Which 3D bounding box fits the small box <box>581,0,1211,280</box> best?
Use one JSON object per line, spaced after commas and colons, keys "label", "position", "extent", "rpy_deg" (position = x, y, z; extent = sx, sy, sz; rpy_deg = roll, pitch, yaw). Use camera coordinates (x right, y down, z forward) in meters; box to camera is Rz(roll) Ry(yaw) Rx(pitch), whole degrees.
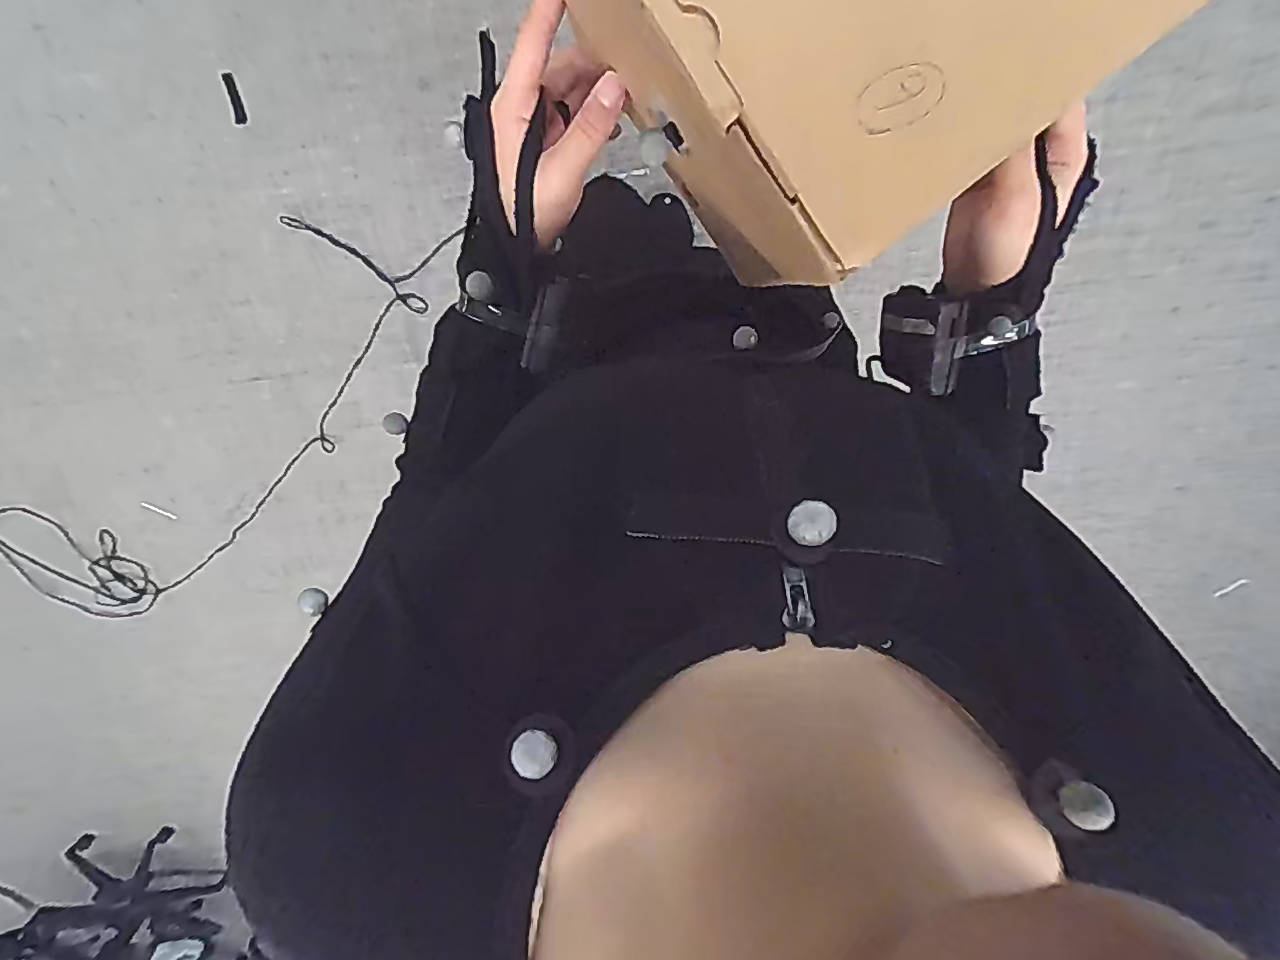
{"label": "small box", "position": [0.082, -0.199, 0.217], "extent": [0.179, 0.176, 0.168], "rpy_deg": [-36, 104, 12]}
